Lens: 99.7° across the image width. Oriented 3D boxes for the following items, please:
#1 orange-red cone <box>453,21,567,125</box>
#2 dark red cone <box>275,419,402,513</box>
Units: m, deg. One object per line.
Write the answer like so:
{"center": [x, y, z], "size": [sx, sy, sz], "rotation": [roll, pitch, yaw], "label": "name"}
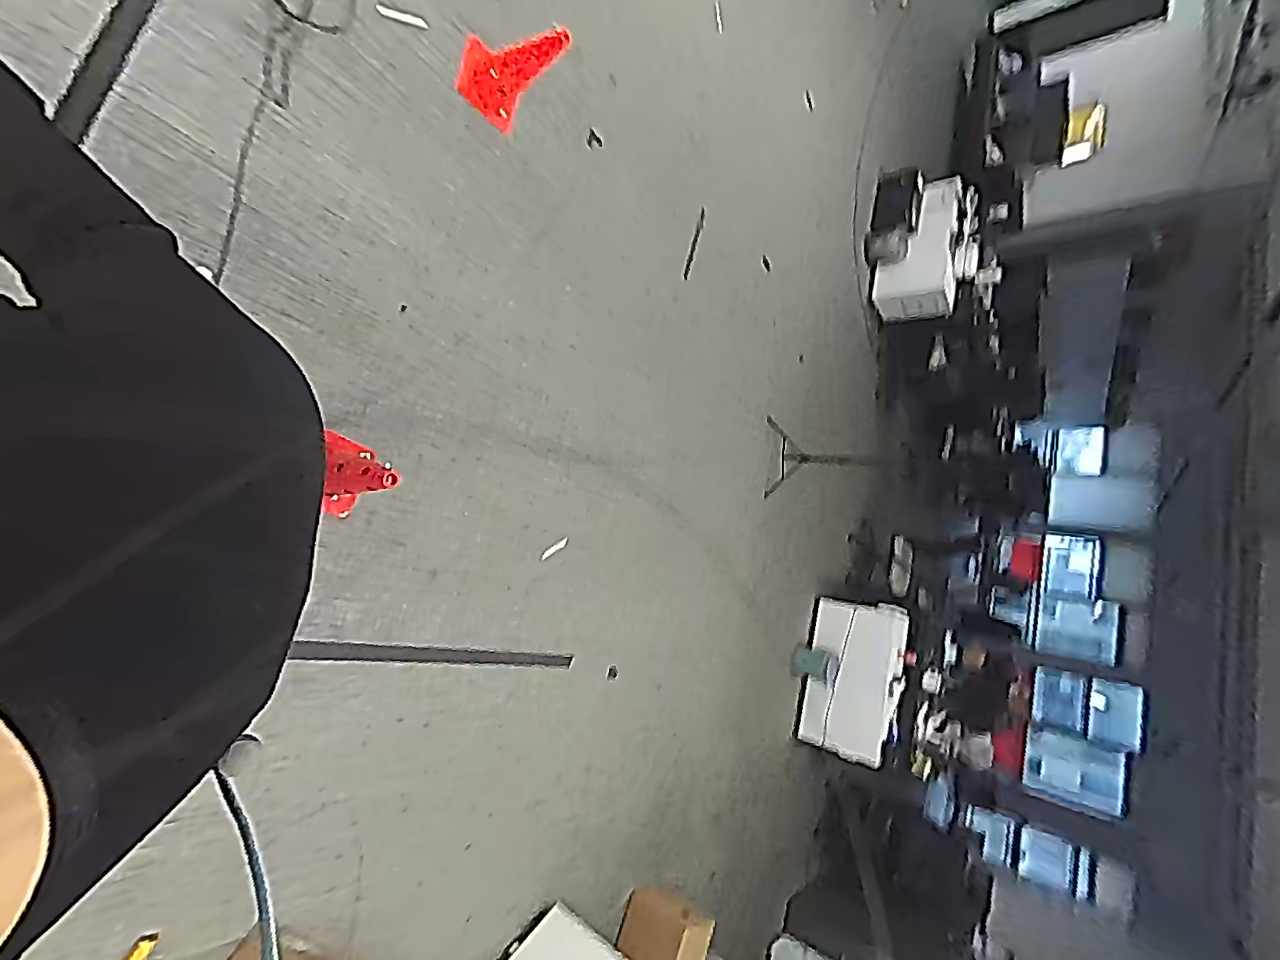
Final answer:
{"center": [-0.350, -1.243, 1.581], "size": [0.198, 0.360, 0.199], "rotation": [22, 75, -51], "label": "orange-red cone"}
{"center": [-0.670, -0.020, 1.276], "size": [0.201, 0.394, 0.202], "rotation": [33, 68, -46], "label": "dark red cone"}
